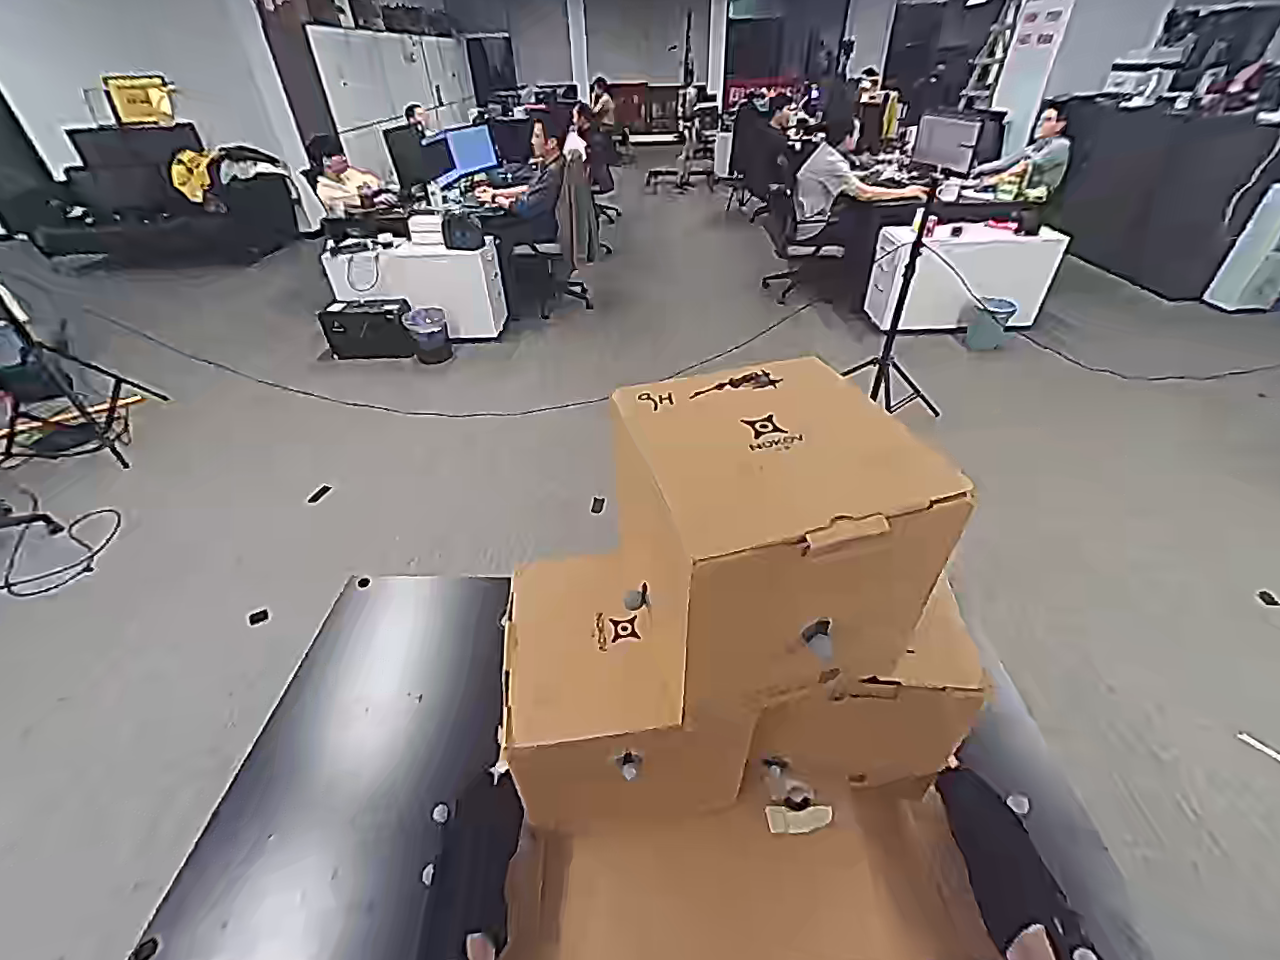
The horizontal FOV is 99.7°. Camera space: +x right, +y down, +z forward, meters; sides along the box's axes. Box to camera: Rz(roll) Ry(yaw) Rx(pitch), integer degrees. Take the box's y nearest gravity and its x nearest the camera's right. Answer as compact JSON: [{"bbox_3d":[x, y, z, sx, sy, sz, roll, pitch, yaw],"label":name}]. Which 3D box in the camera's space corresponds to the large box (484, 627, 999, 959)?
[{"bbox_3d":[0.069,0.381,0.608,0.408,0.320,0.320,-3,39,-3],"label":"large box"}]

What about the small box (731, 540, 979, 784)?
[{"bbox_3d":[0.174,0.152,0.502,0.168,0.176,0.179,4,37,7],"label":"small box"}]

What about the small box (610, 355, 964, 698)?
[{"bbox_3d":[0.081,0.033,0.392,0.168,0.176,0.179,-11,40,-11],"label":"small box"}]
